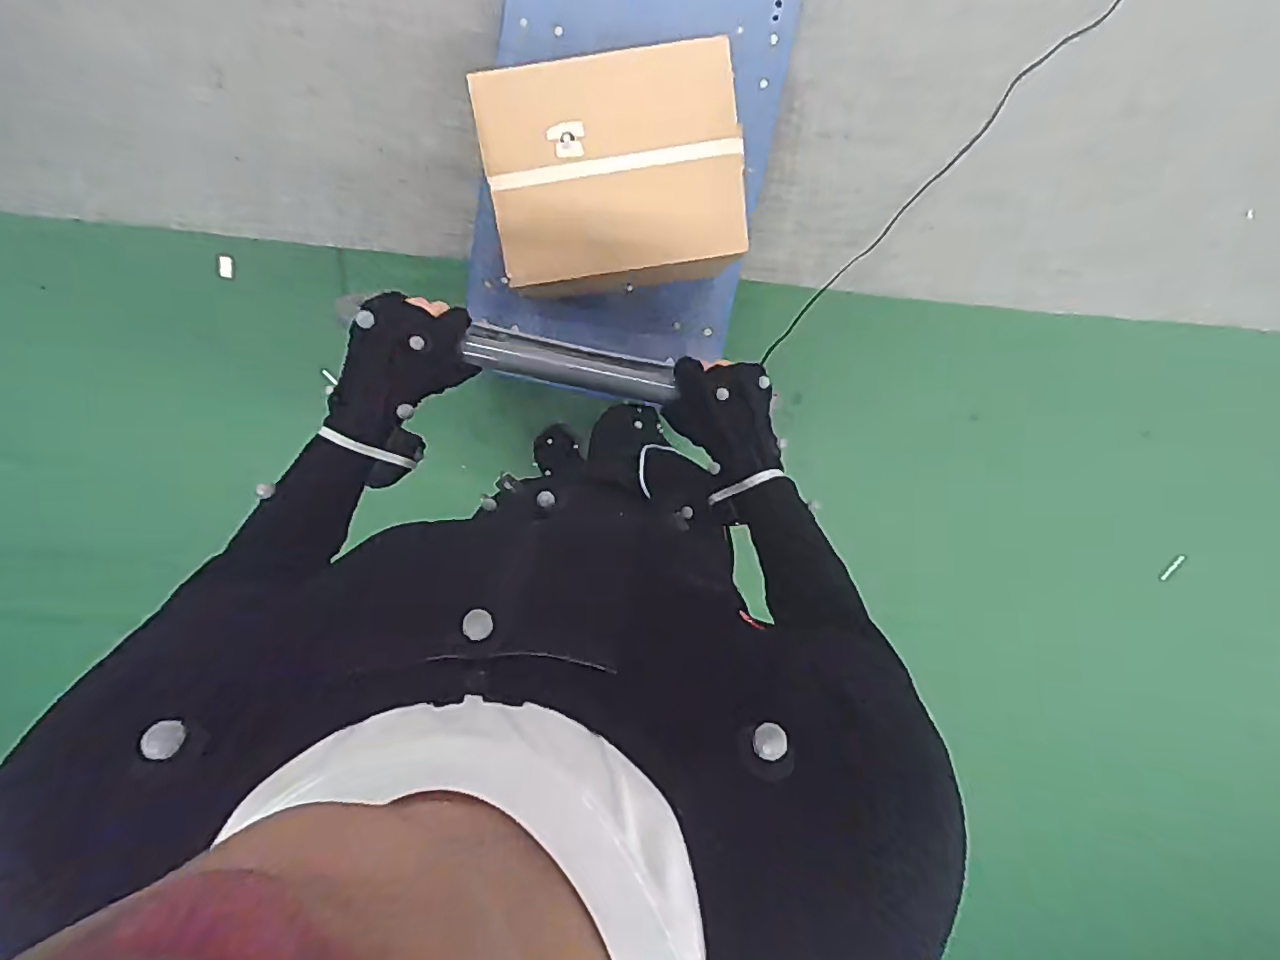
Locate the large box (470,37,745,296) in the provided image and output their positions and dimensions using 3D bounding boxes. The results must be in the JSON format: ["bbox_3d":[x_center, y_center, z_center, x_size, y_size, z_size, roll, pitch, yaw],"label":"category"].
[{"bbox_3d":[-0.046,-0.534,0.999,0.408,0.320,0.320,-8,104,0],"label":"large box"}]
